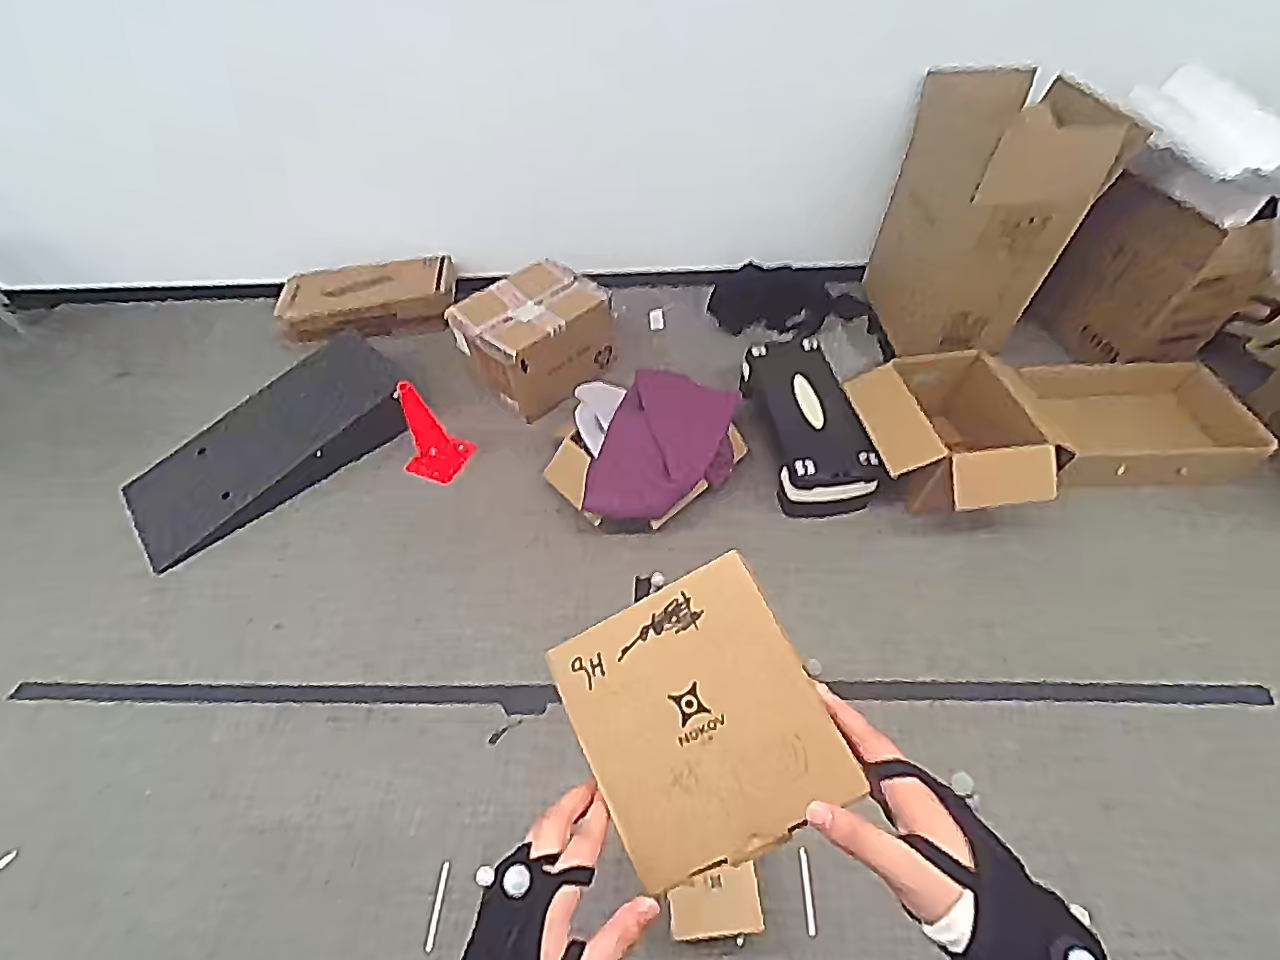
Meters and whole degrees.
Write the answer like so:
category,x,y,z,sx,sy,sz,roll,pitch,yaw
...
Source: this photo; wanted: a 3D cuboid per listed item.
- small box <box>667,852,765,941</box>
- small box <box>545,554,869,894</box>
category,x,y,z,sx,sy,sz,roll,pitch,yaw
small box,0.144,0.832,1.116,0.179,0.176,0.168,-5,51,-1
small box,0.056,0.174,0.443,0.168,0.176,0.179,-30,75,7
